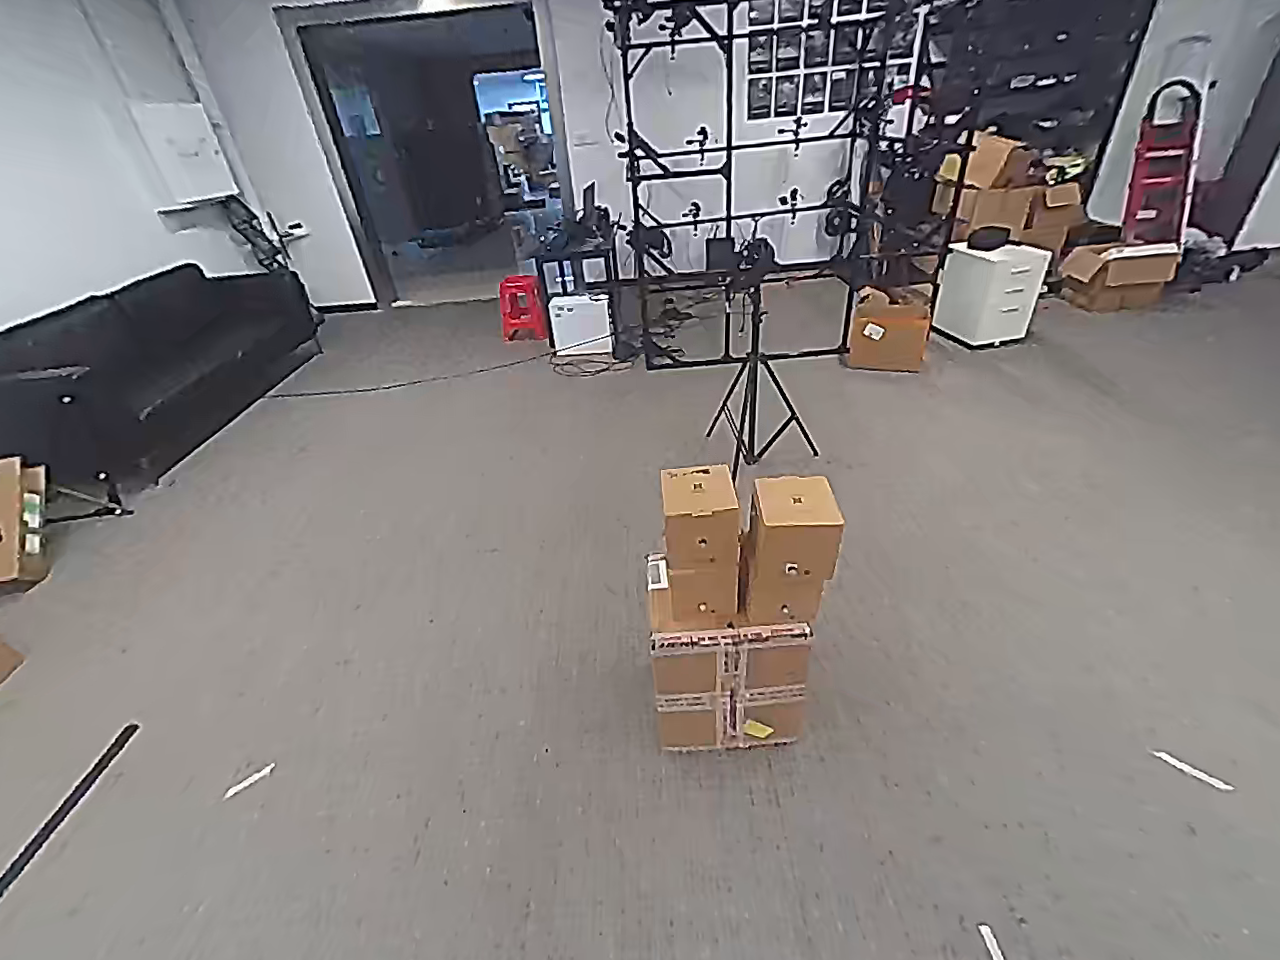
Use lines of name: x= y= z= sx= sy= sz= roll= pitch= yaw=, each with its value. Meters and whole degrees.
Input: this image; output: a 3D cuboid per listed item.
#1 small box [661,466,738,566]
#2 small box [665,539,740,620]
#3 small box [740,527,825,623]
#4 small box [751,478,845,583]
small box: x=0.140 y=0.090 z=1.284 sx=0.168 sy=0.176 sz=0.179 roll=-5 pitch=37 yaw=3
small box: x=0.153 y=0.230 z=1.371 sx=0.168 sy=0.176 sz=0.179 roll=-7 pitch=37 yaw=1
small box: x=0.345 y=0.233 z=1.341 sx=0.168 sy=0.176 sz=0.179 roll=-3 pitch=36 yaw=1
small box: x=0.348 y=0.114 z=1.229 sx=0.168 sy=0.176 sz=0.179 roll=-4 pitch=36 yaw=3
